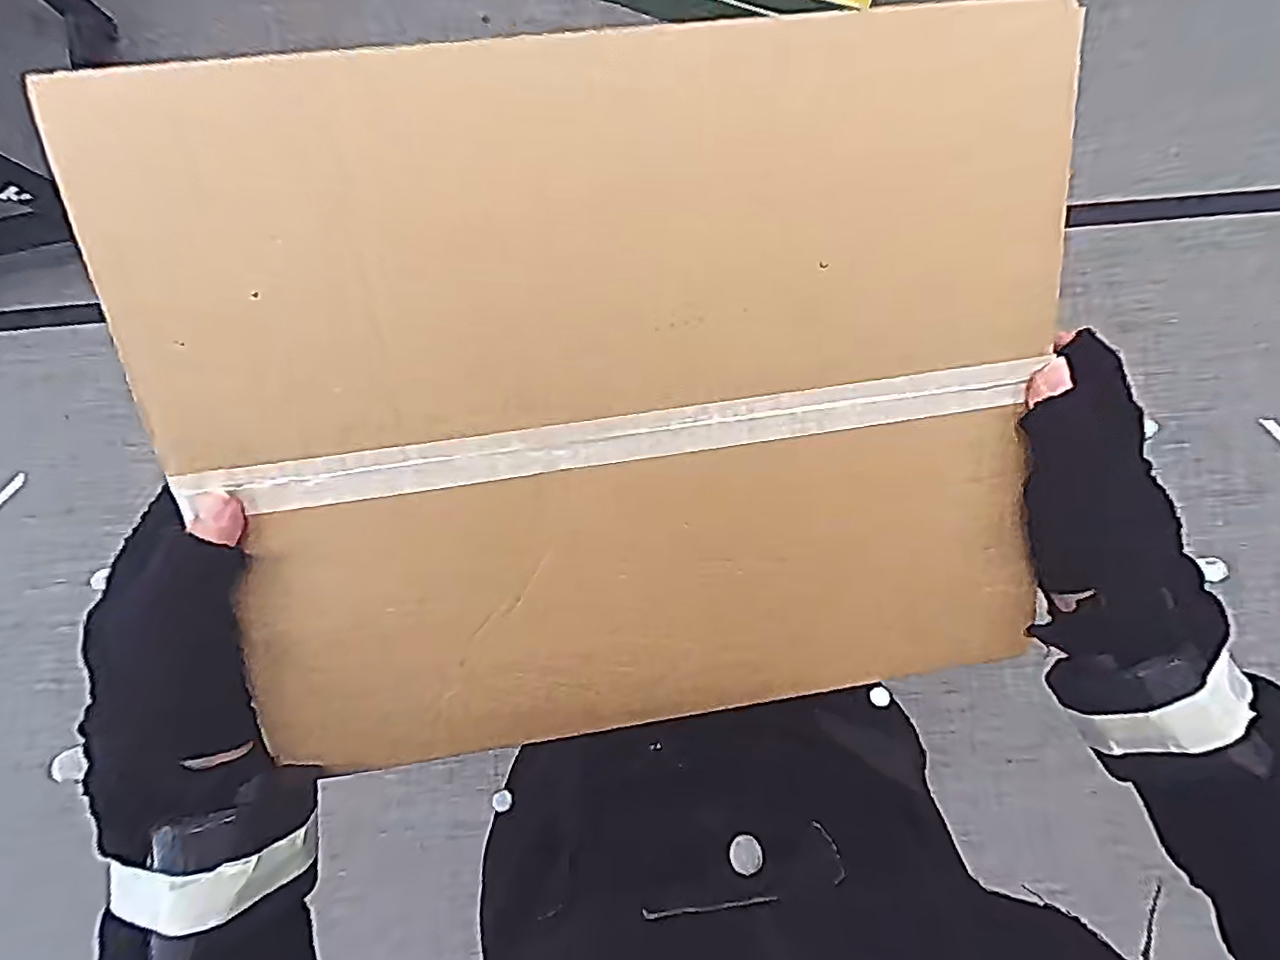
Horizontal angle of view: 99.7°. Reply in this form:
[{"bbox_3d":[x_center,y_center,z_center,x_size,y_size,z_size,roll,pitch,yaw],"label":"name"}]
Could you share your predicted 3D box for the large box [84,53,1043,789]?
[{"bbox_3d":[-0.016,-0.049,0.404,0.408,0.320,0.320,-9,105,-4],"label":"large box"}]
